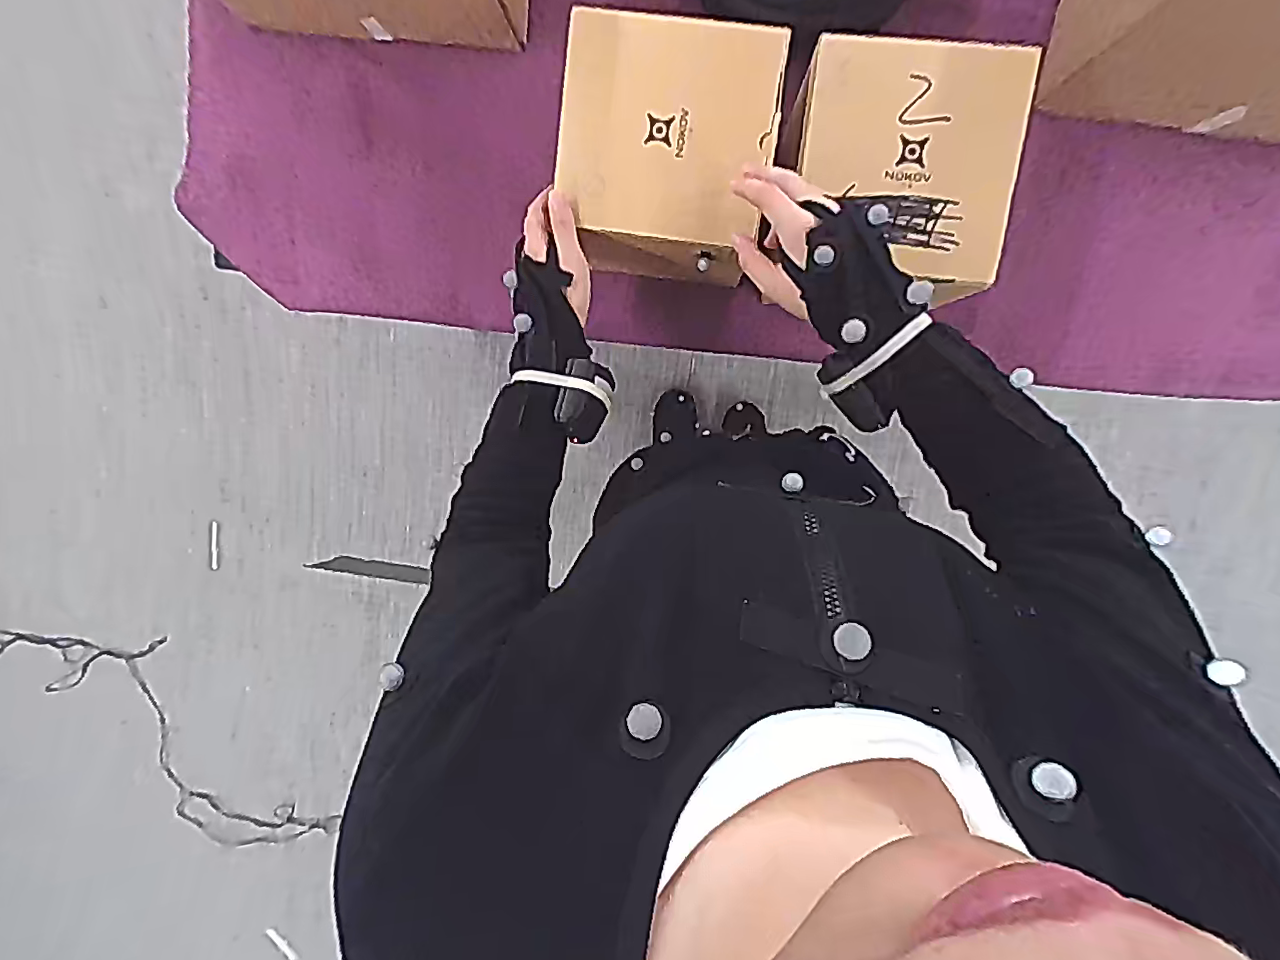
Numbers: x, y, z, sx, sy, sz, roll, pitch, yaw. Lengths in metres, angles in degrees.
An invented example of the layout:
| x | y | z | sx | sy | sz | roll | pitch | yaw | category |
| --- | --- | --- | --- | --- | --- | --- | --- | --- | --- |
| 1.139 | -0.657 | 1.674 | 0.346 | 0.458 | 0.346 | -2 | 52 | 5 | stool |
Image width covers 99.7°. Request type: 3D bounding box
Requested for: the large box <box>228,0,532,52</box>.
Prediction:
| x | y | z | sx | sy | sz | roll | pitch | yaw | category |
| --- | --- | --- | --- | --- | --- | --- | --- | --- | --- |
| -0.261 | -0.647 | 0.412 | 0.320 | 0.320 | 0.408 | 5 | 102 | 2 | large box |
